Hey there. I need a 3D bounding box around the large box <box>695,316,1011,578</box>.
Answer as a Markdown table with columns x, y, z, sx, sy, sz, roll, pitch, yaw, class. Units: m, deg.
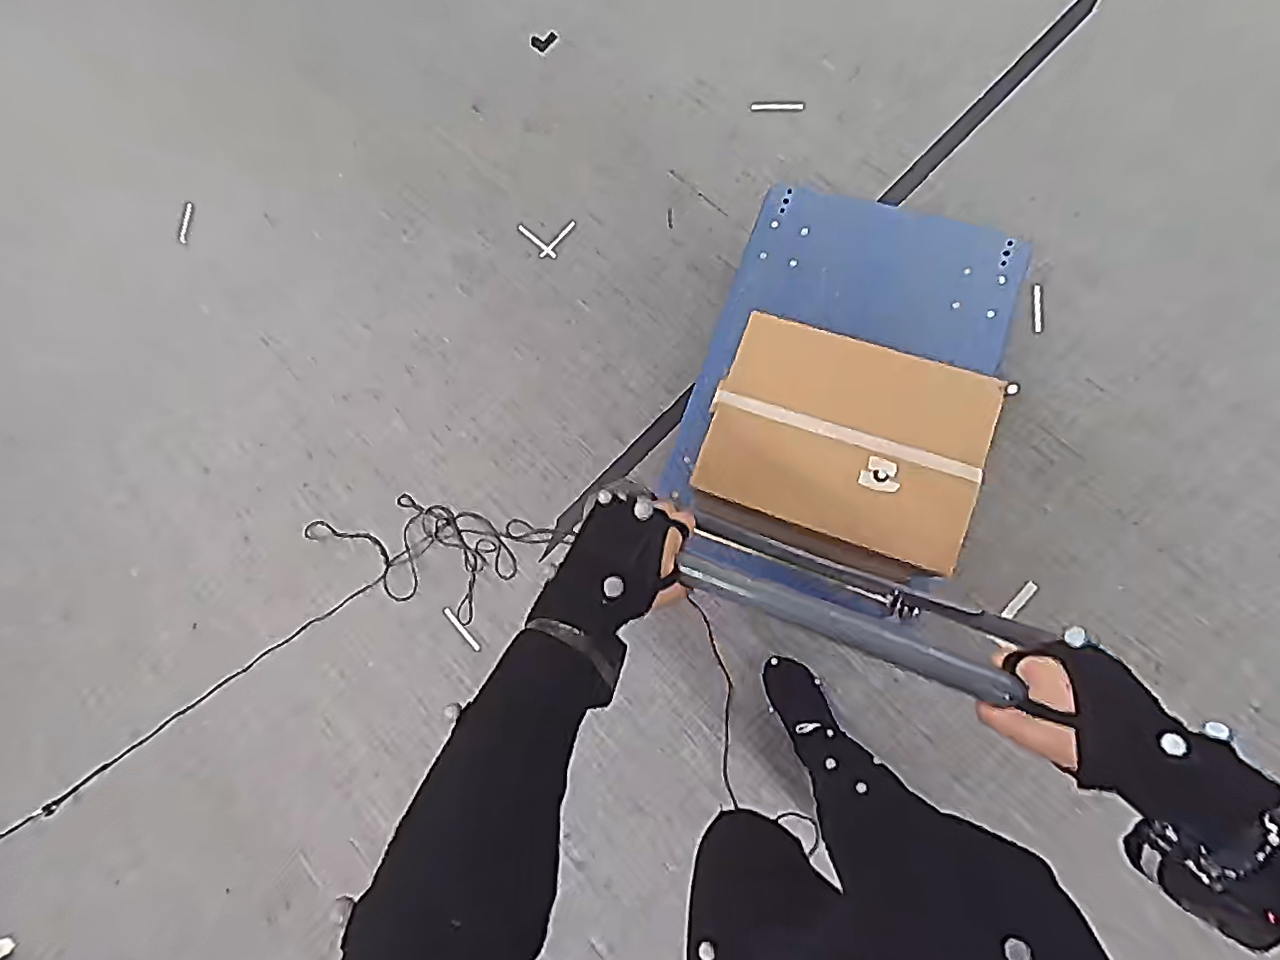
| x | y | z | sx | sy | sz | roll | pitch | yaw | class |
| --- | --- | --- | --- | --- | --- | --- | --- | --- | --- |
| 0.336 | -0.038 | 0.964 | 0.408 | 0.320 | 0.320 | 20 | 83 | 11 | large box |
